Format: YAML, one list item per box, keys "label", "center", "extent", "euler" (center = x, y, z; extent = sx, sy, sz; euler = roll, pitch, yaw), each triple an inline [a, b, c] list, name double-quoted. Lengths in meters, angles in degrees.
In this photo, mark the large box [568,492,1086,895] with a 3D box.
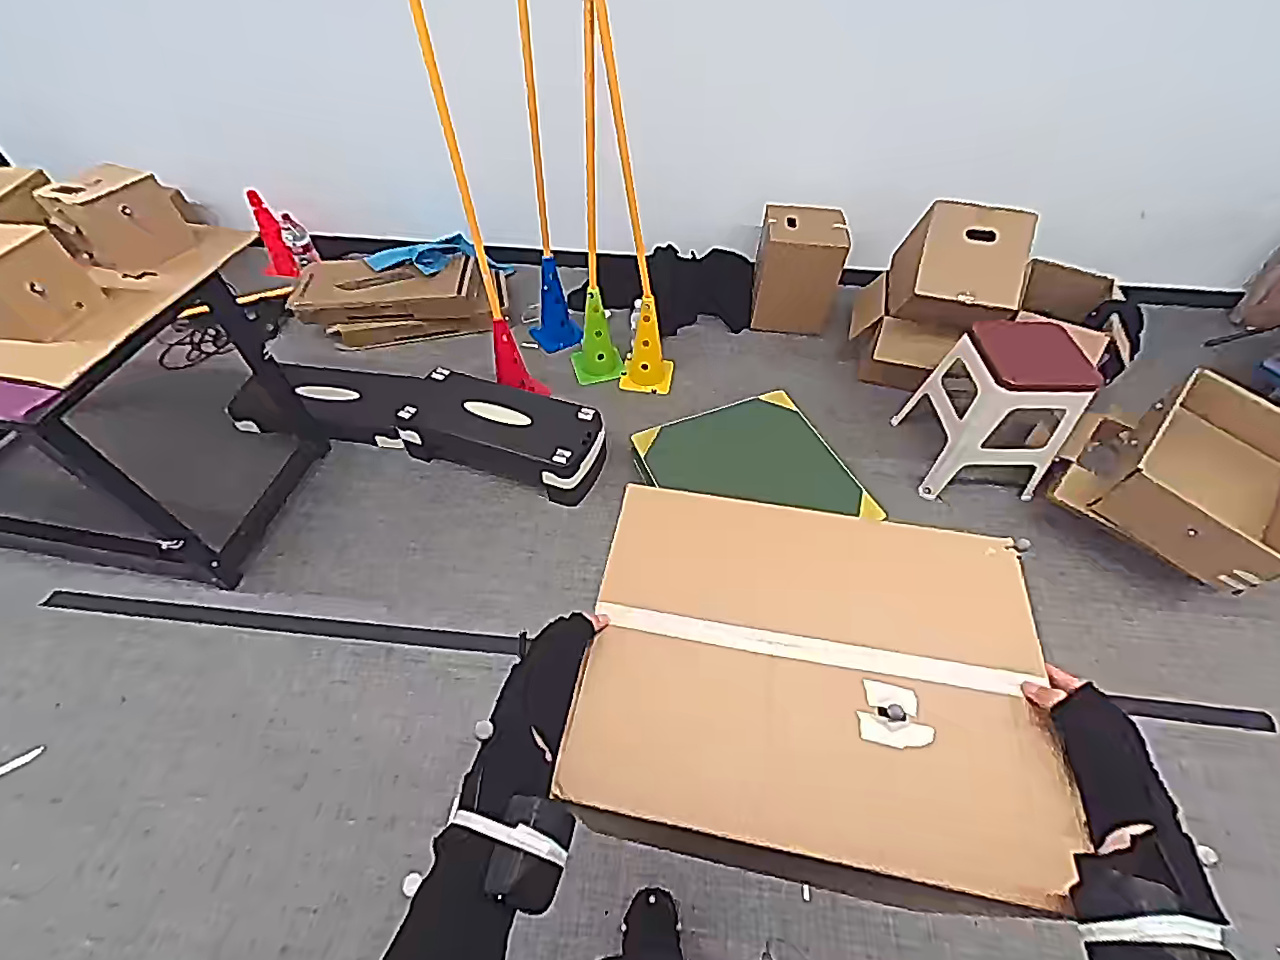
- label: "large box"
  center: [0.159, 0.247, 0.623]
  extent: [0.408, 0.320, 0.320]
  euler: [8, 55, 7]
